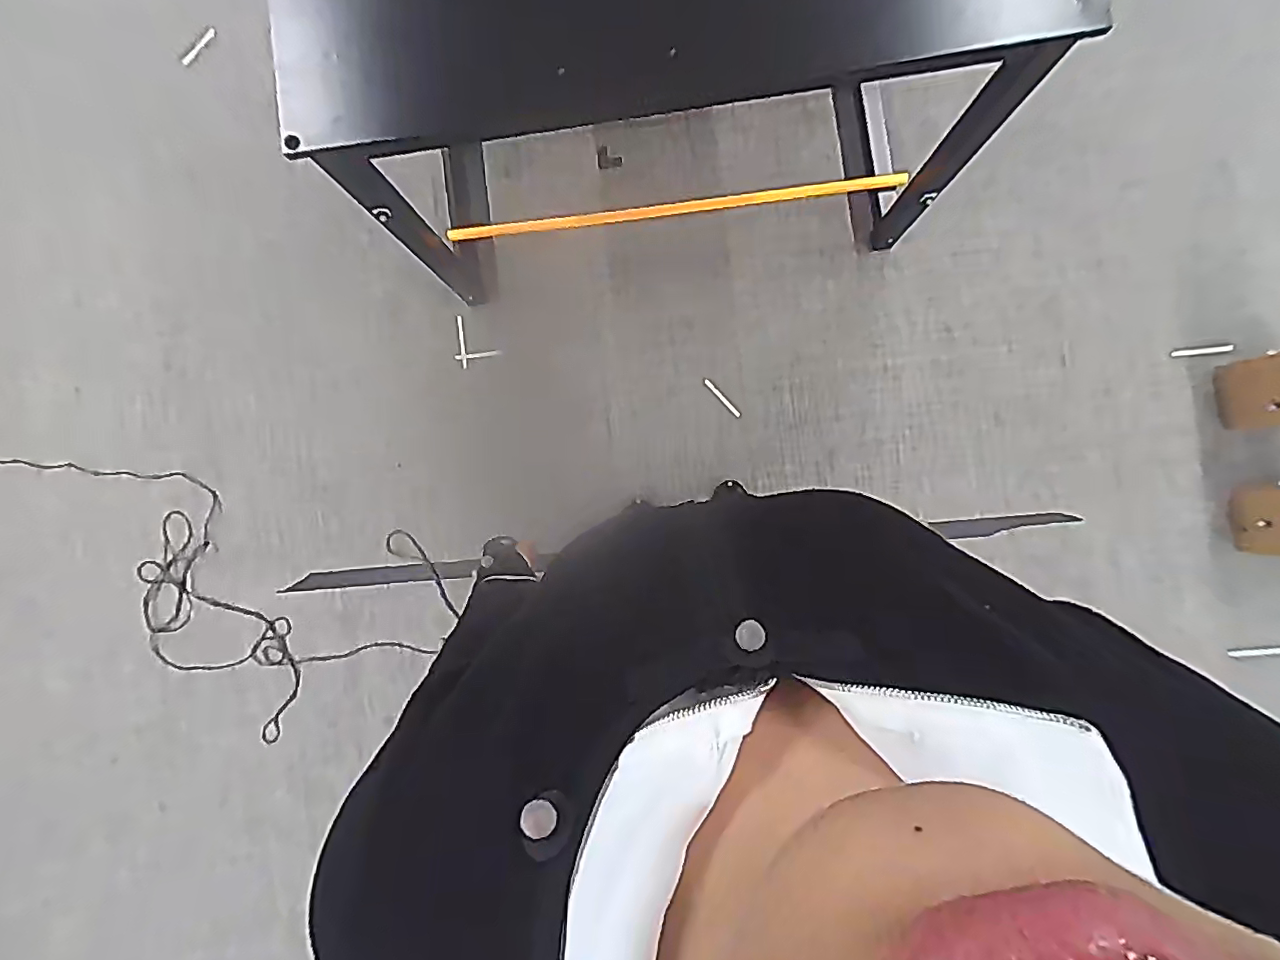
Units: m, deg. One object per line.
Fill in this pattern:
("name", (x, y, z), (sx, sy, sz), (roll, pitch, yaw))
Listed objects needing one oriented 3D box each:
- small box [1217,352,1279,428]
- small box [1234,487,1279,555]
("small box", (1.607, -0.226, 1.342), (0.168, 0.176, 0.179), (-8, 88, 3))
("small box", (1.638, 0.100, 1.338), (0.179, 0.176, 0.168), (-5, 89, 4))
